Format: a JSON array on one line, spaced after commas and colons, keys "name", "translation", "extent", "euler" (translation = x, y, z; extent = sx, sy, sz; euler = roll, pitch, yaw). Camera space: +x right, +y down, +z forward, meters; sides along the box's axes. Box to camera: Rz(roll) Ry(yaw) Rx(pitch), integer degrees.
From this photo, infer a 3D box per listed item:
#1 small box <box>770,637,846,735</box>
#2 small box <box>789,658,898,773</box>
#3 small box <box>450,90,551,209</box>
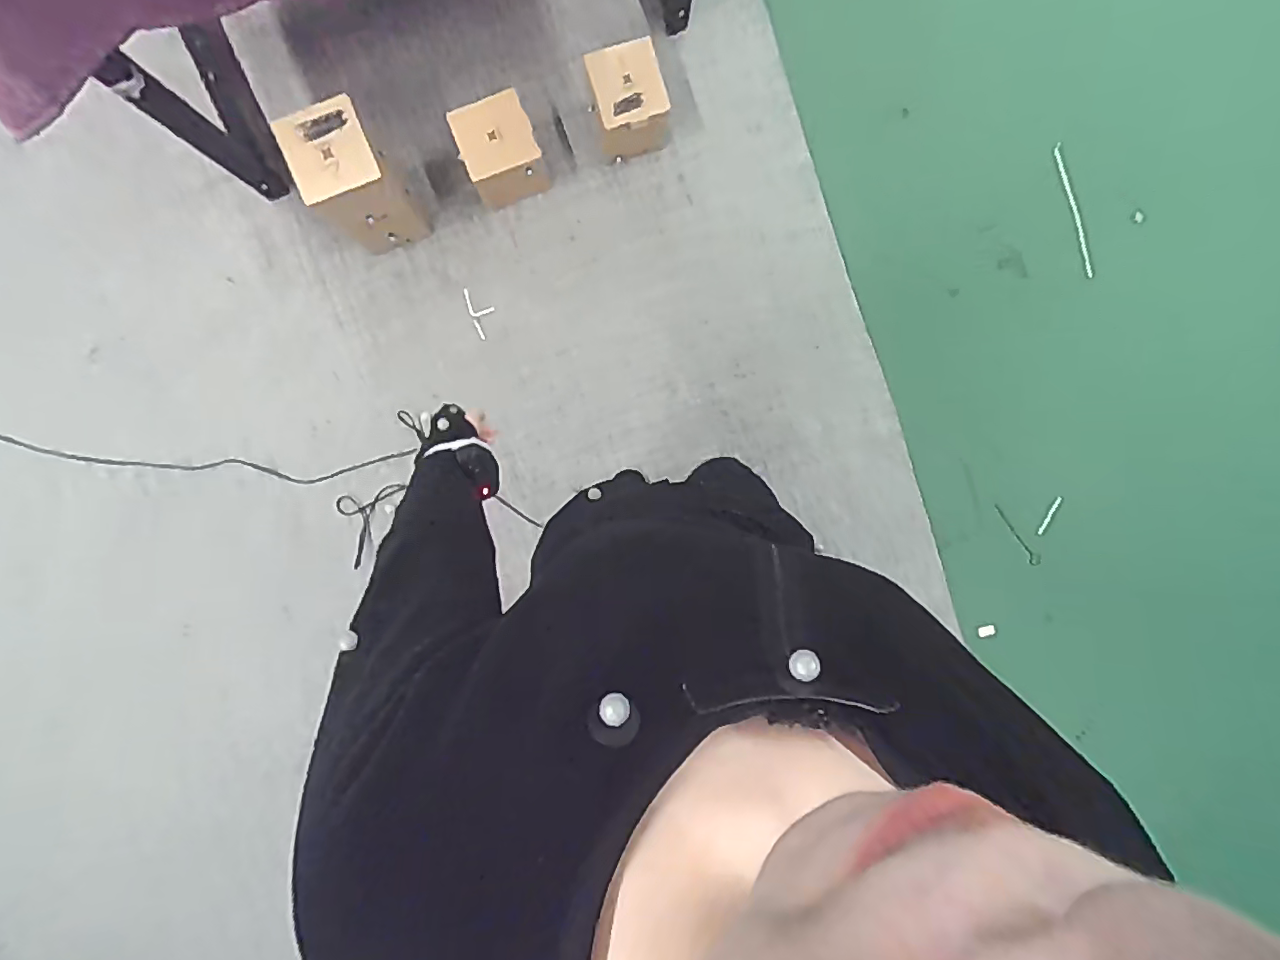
[{"name": "small box", "translation": [0.473, 0.545, 1.468], "extent": [0.168, 0.176, 0.179], "euler": [-21, 95, 0]}, {"name": "small box", "translation": [0.480, 0.554, 1.304], "extent": [0.168, 0.176, 0.179], "euler": [-22, 95, 1]}, {"name": "small box", "translation": [-0.337, -0.809, 1.343], "extent": [0.179, 0.176, 0.168], "euler": [-22, 95, 0]}]
